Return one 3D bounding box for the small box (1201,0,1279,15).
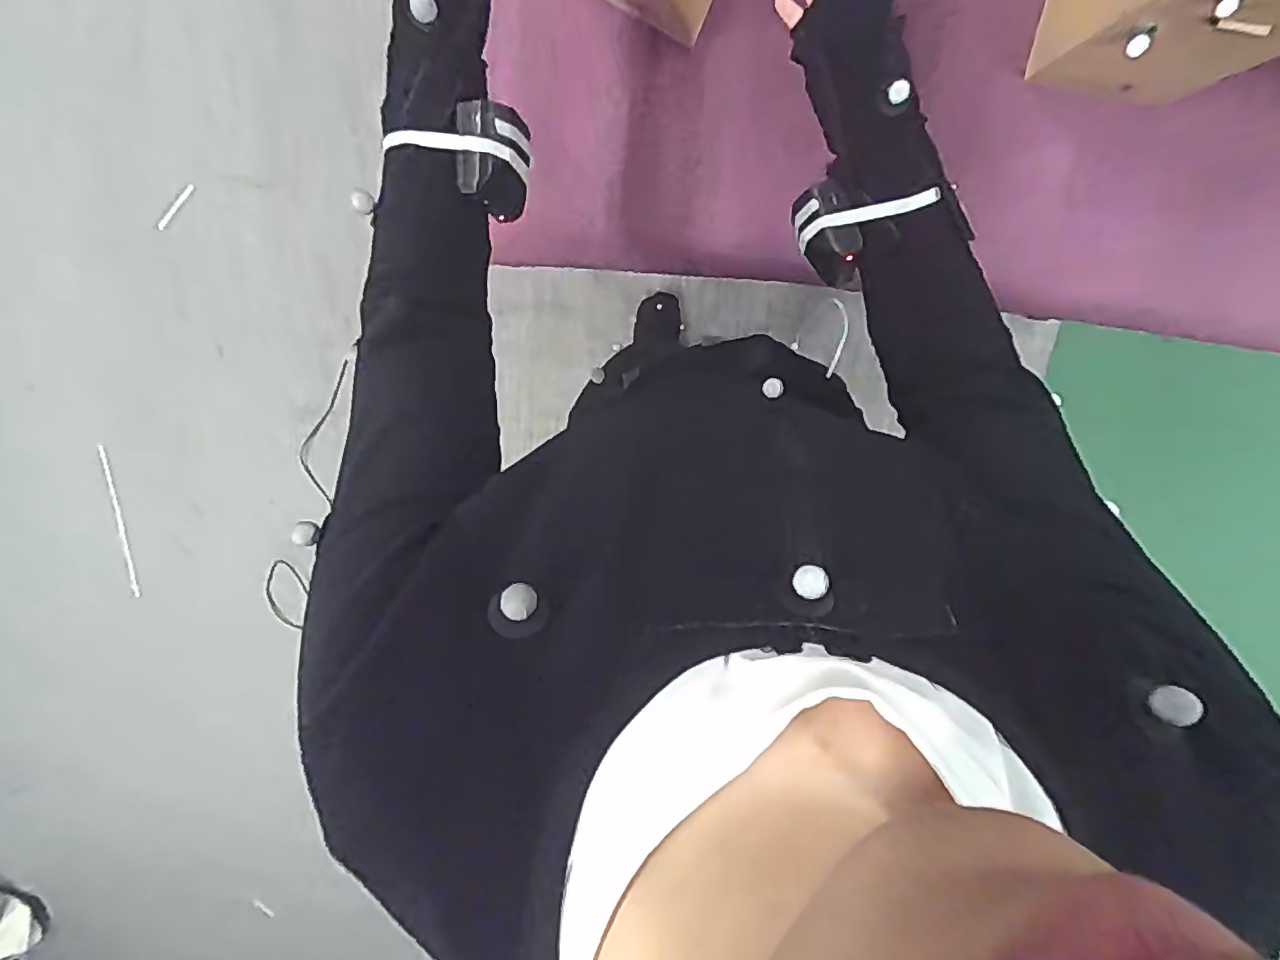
[{"bbox_3d":[0.509,-0.434,0.341,0.168,0.176,0.179,6,106,-2],"label":"small box"}]

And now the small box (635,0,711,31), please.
[{"bbox_3d":[0.020,-0.549,0.465,0.168,0.176,0.179,24,105,-7],"label":"small box"}]
